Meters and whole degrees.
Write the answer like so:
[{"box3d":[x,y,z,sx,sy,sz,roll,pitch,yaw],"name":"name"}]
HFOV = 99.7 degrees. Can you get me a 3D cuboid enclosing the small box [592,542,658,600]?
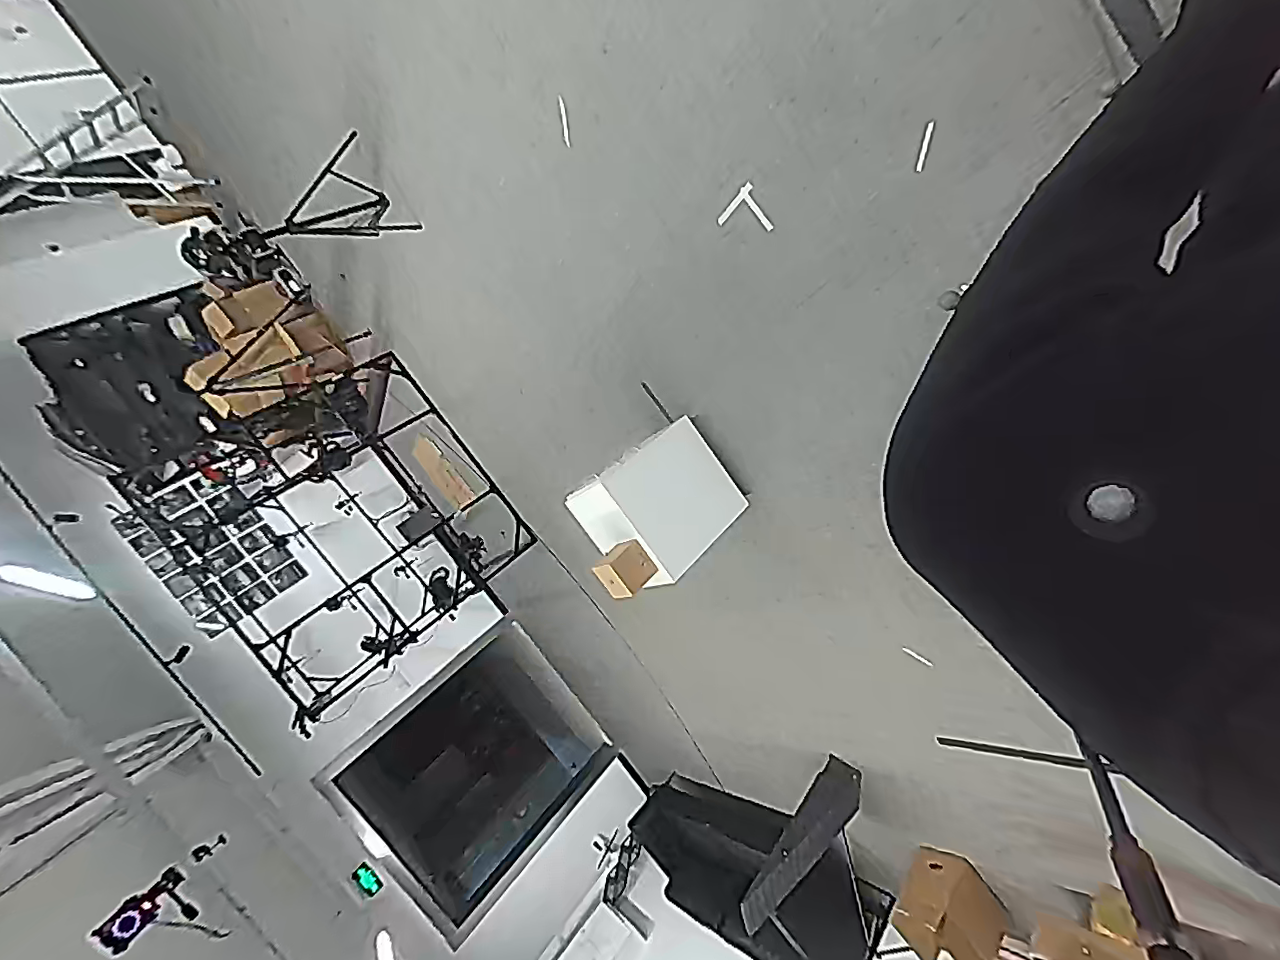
[{"box3d":[-0.058,0.372,2.214,0.168,0.176,0.179,54,149,-7],"name":"small box"}]
